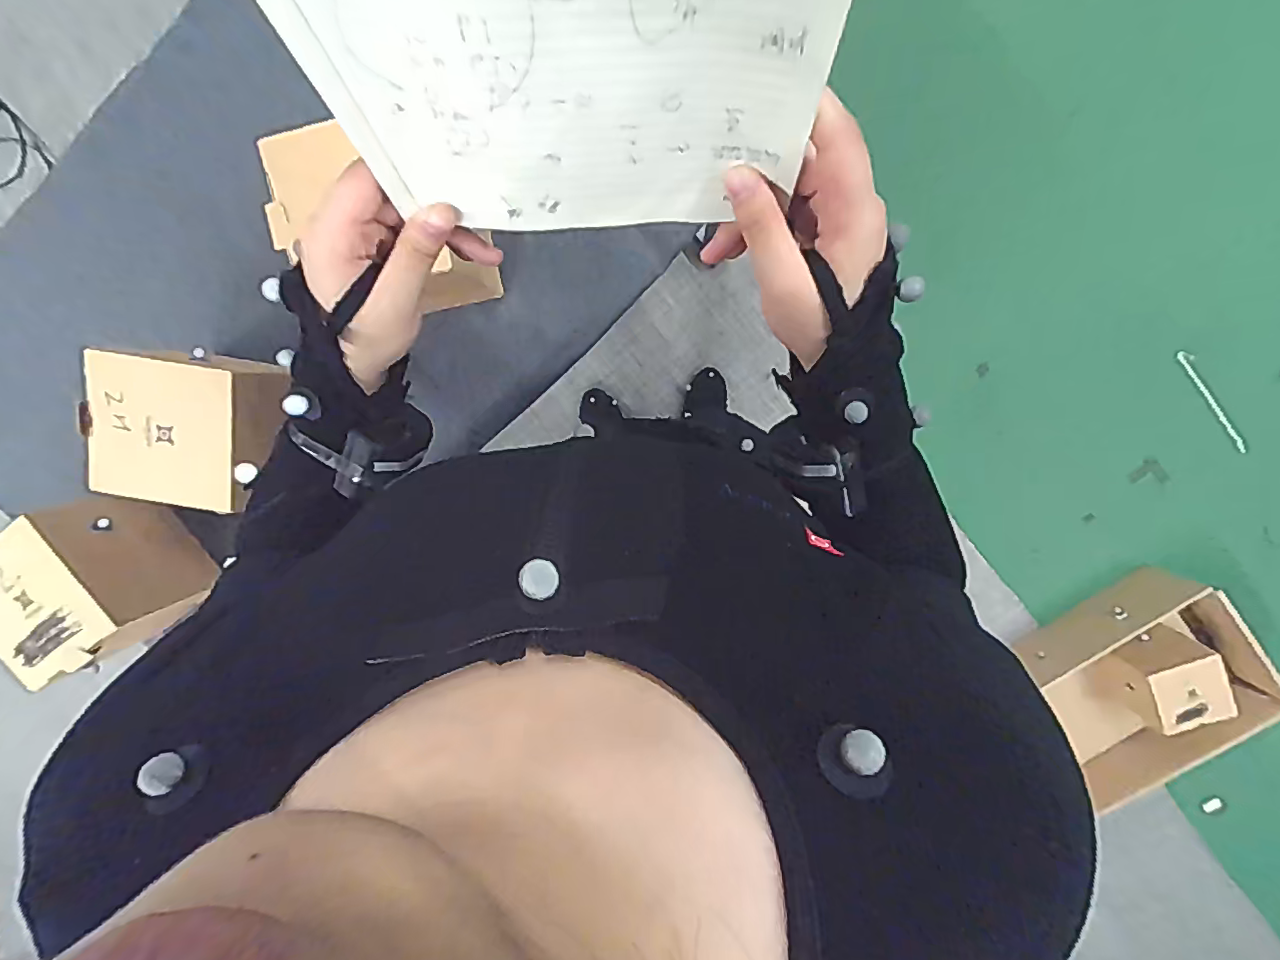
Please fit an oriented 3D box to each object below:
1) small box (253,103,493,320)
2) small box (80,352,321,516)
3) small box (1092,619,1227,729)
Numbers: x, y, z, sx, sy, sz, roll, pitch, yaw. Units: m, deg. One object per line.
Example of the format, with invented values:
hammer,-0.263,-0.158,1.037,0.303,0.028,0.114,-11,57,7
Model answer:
small box,-0.285,-0.291,0.627,0.179,0.176,0.168,-10,100,7
small box,-0.538,-0.065,0.687,0.179,0.176,0.168,9,101,2
small box,1.309,0.486,1.373,0.168,0.176,0.179,-23,99,8
